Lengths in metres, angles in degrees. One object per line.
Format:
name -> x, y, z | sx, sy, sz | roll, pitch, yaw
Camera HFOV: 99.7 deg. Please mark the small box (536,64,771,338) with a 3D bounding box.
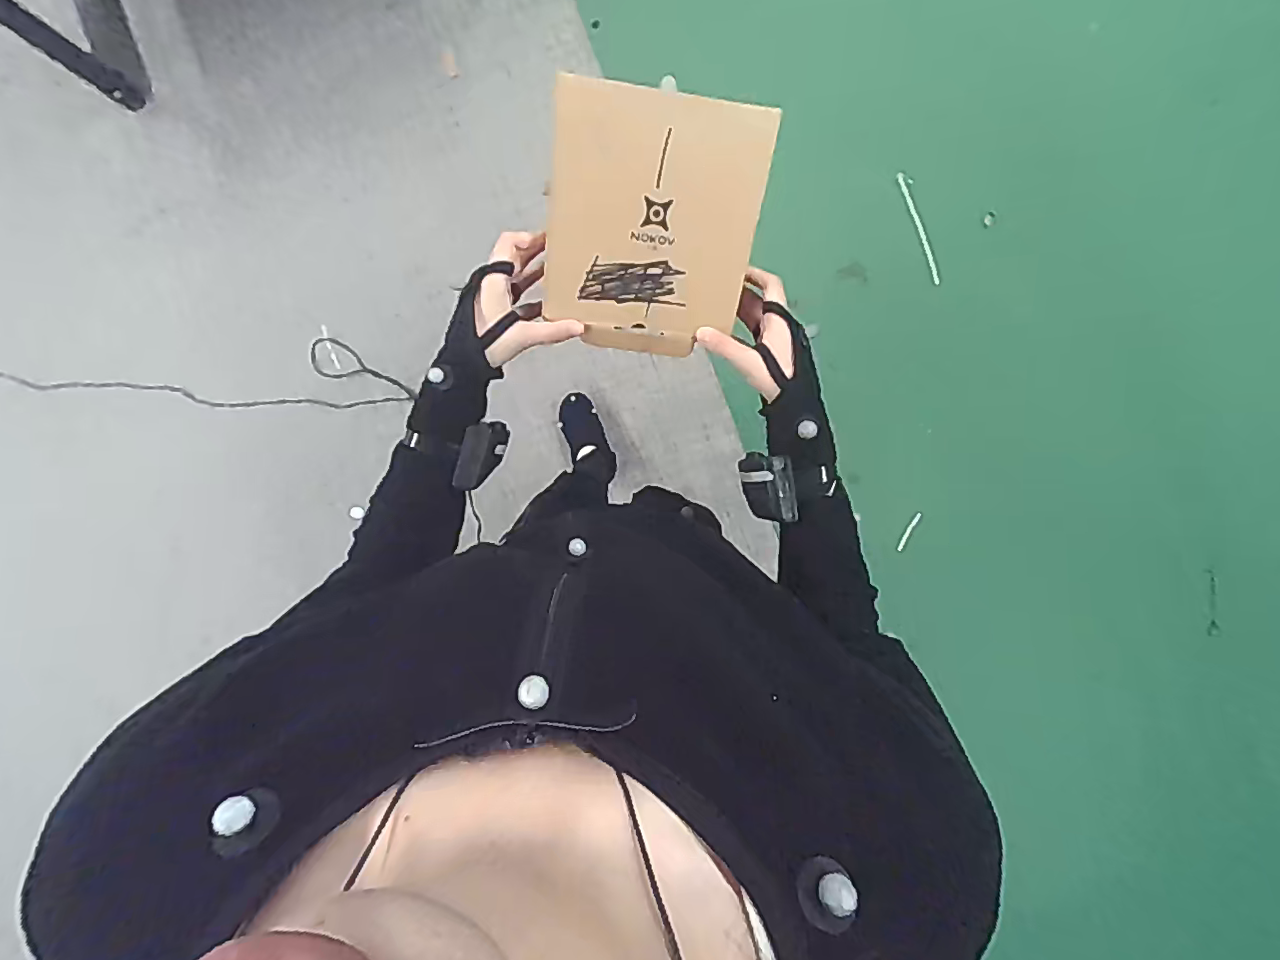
small box -> 0.000, -0.250, 0.497 | 0.168, 0.176, 0.179 | 6, 121, -7
